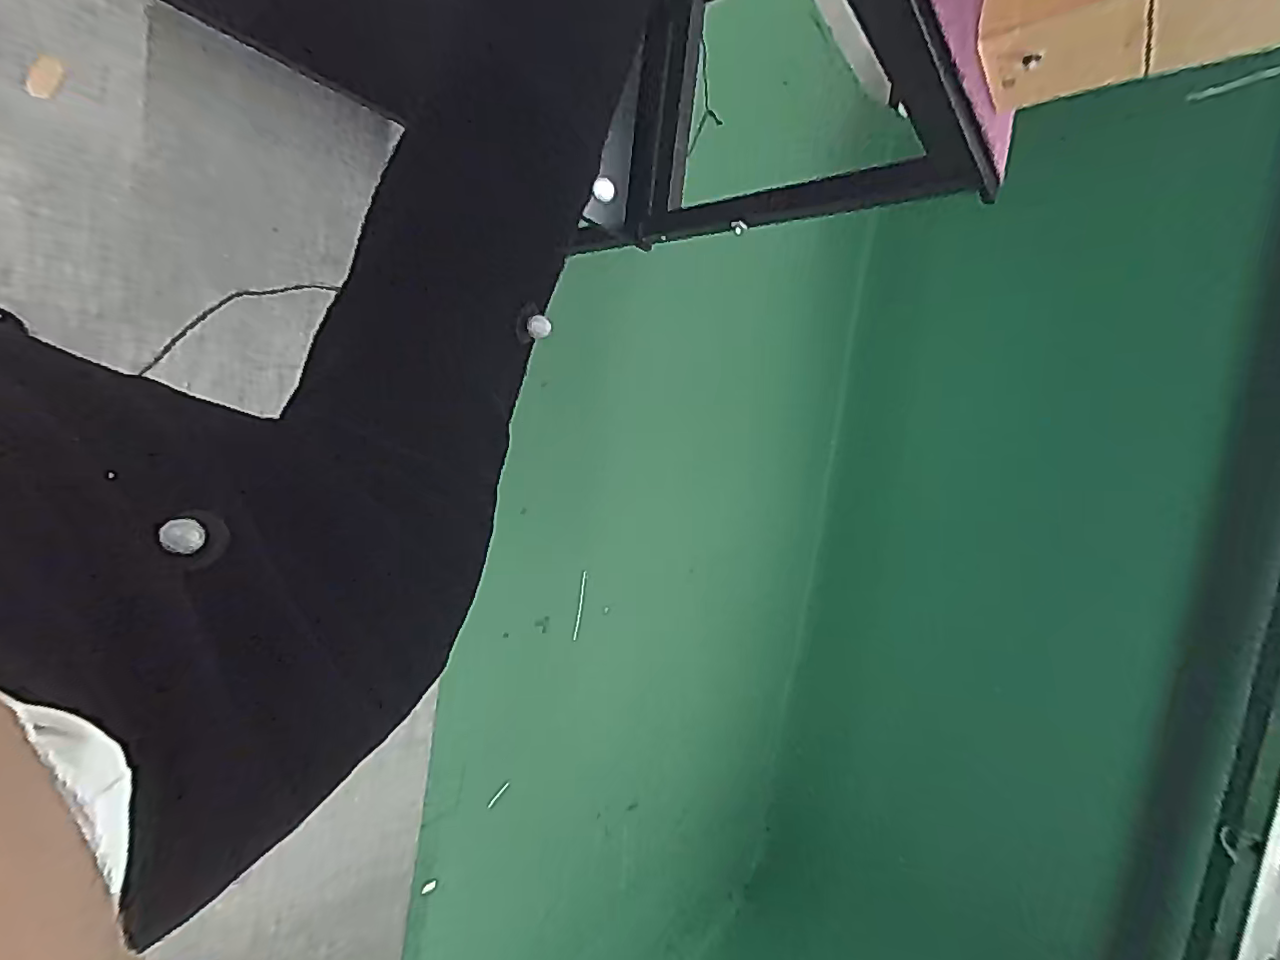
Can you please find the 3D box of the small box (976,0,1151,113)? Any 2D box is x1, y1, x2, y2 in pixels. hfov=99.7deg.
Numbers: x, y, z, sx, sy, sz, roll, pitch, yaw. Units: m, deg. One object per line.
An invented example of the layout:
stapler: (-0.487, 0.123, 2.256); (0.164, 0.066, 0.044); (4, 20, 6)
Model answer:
small box: (0.537, -0.607, 0.674); (0.168, 0.176, 0.179); (3, 98, -49)

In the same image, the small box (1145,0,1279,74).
small box: (0.654, -0.572, 0.562); (0.179, 0.176, 0.168); (3, 98, -49)
